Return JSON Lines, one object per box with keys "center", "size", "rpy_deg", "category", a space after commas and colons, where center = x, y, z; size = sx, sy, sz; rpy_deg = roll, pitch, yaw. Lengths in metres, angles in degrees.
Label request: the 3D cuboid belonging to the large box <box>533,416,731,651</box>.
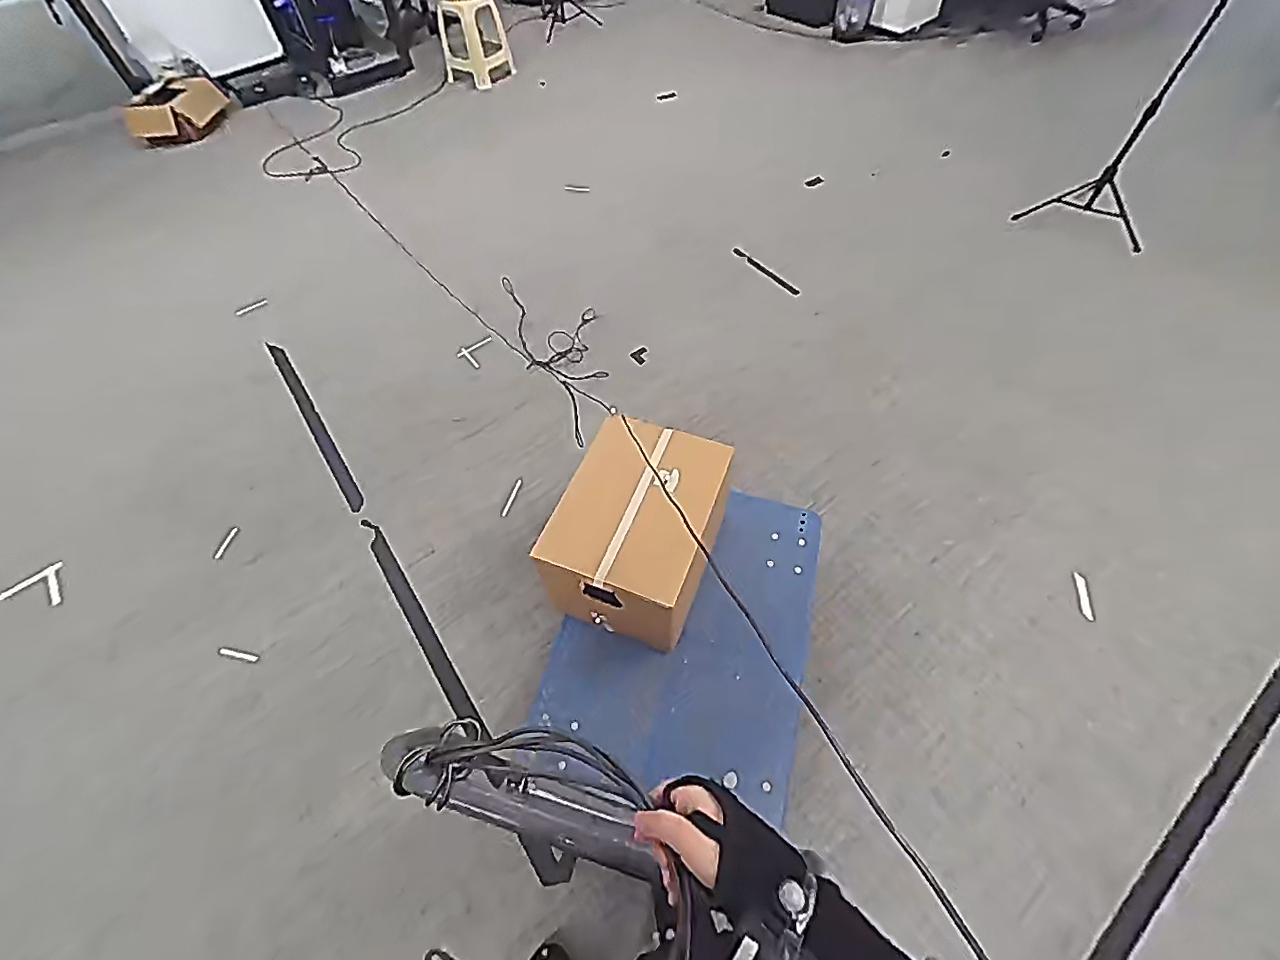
{"center": [0.001, 0.126, 1.273], "size": [0.320, 0.320, 0.408], "rpy_deg": [18, 59, 14], "category": "large box"}
